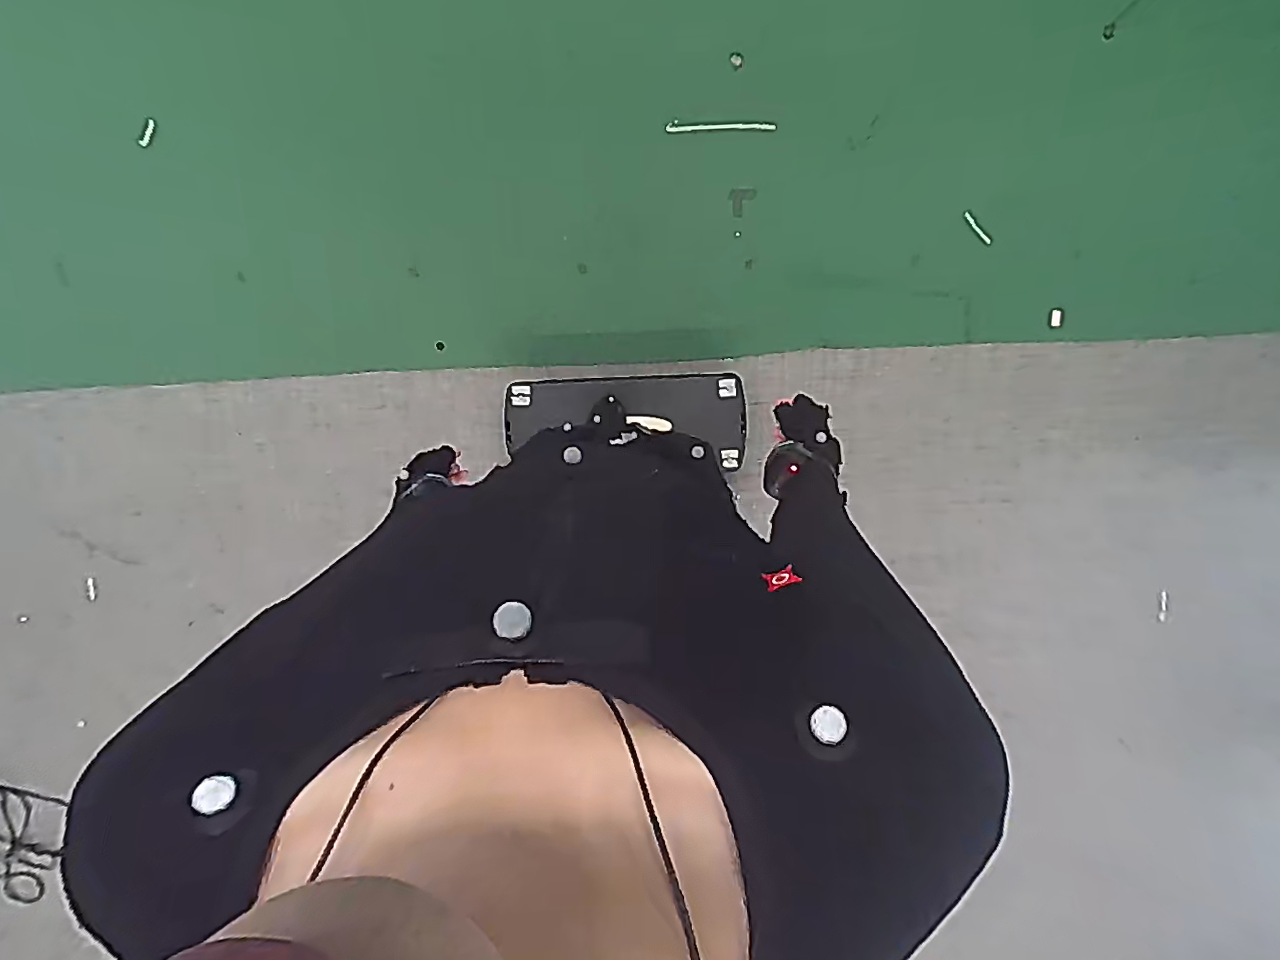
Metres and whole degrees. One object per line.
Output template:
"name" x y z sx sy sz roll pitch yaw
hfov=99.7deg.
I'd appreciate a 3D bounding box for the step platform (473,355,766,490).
"step platform" -0.047 -0.146 1.351 0.684 0.204 0.286 -3 98 -1
